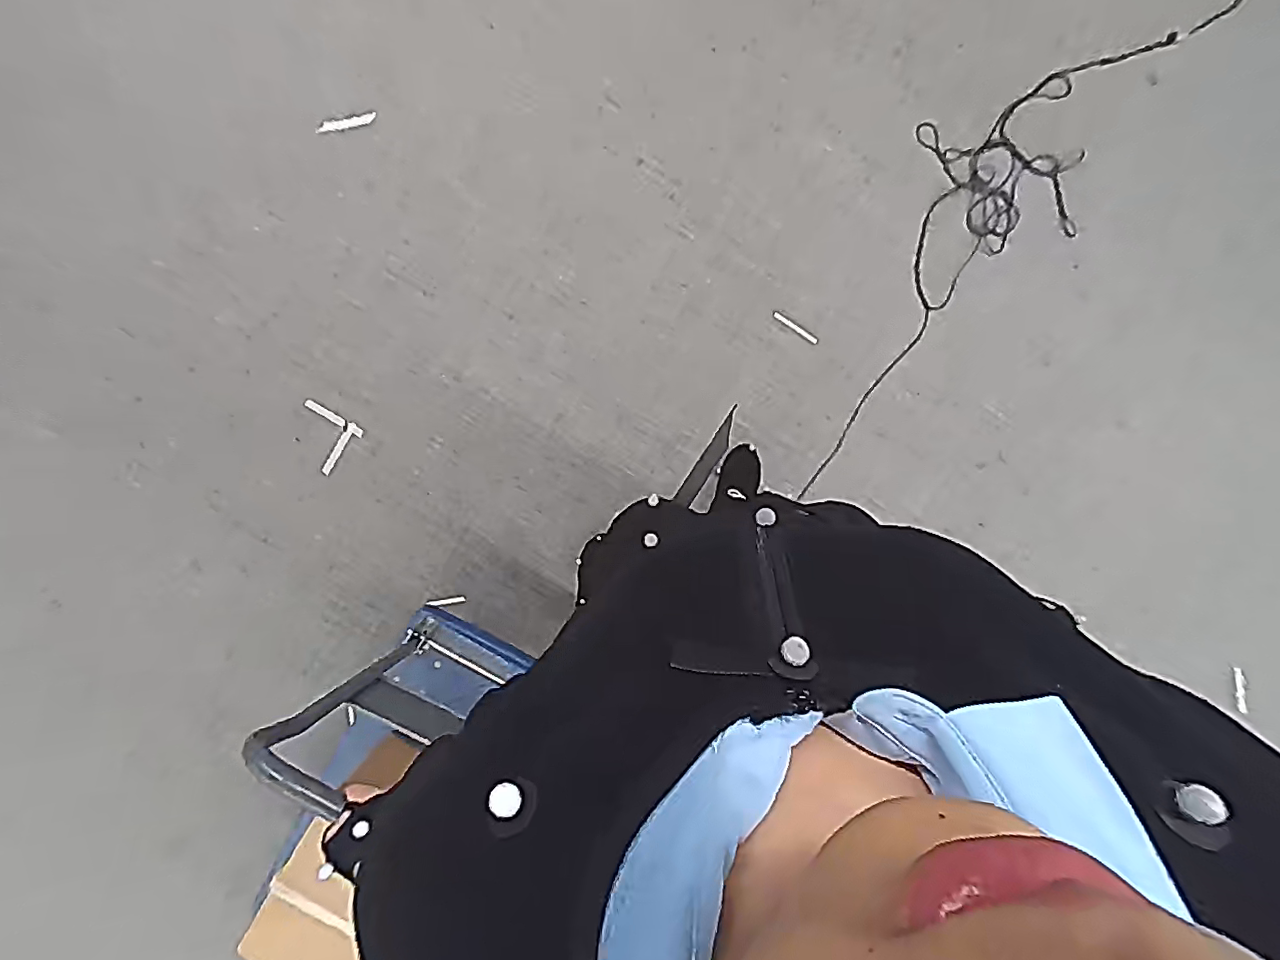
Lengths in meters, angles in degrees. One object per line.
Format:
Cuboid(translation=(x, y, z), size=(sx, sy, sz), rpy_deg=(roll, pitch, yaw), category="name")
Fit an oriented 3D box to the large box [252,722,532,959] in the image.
Cuboid(translation=(-0.505, 0.818, 1.188), size=(0.408, 0.320, 0.320), rpy_deg=(31, 92, -3), category="large box")
